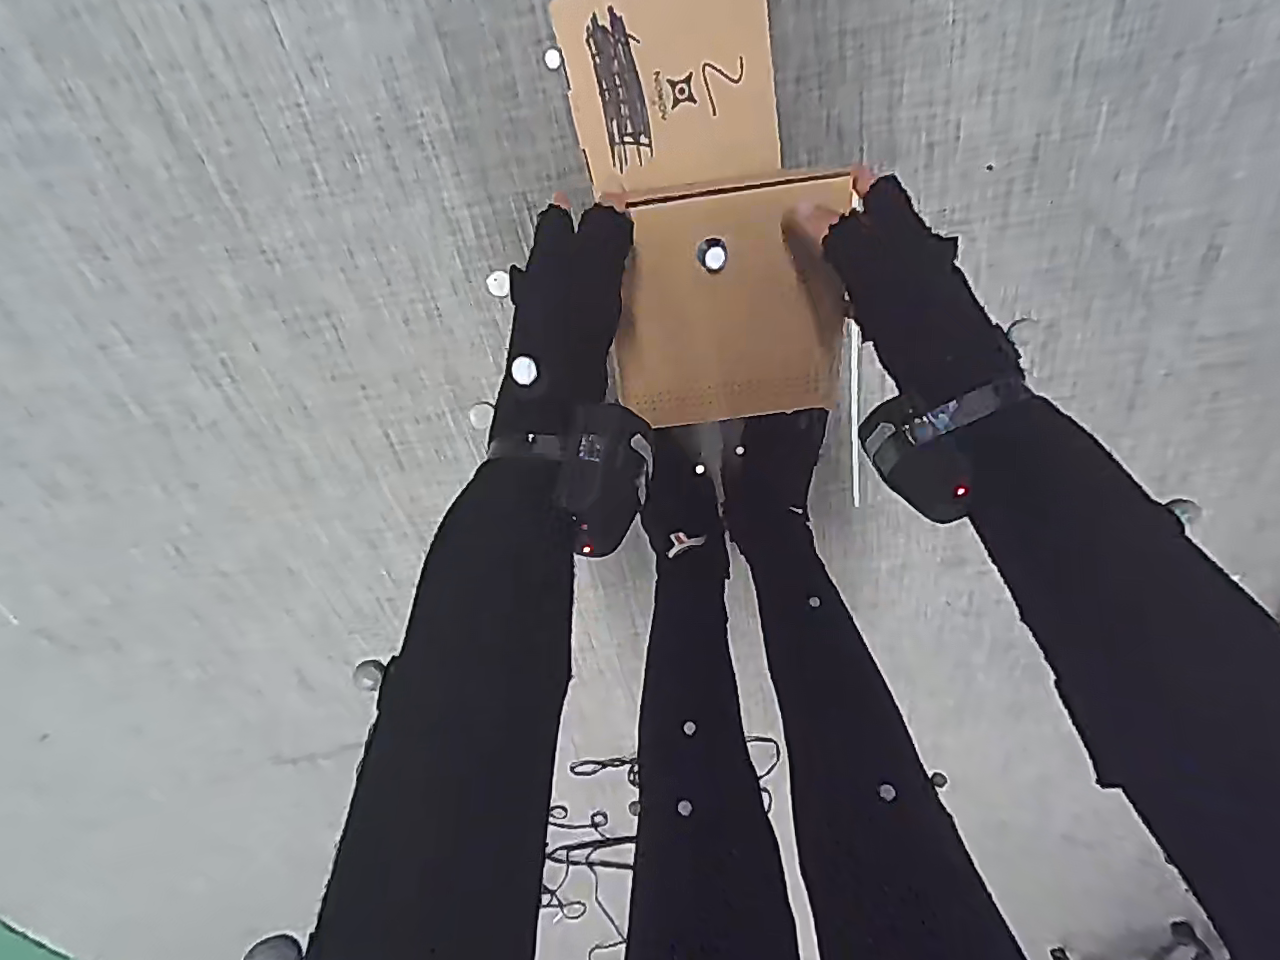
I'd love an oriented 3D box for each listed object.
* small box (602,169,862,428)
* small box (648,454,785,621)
[{"bbox_3d":[0.069,-0.159,0.466,0.179,0.168,0.176,-7,119,3],"label":"small box"},{"bbox_3d":[0.111,0.083,0.832,0.168,0.176,0.179,-11,122,-5],"label":"small box"}]
